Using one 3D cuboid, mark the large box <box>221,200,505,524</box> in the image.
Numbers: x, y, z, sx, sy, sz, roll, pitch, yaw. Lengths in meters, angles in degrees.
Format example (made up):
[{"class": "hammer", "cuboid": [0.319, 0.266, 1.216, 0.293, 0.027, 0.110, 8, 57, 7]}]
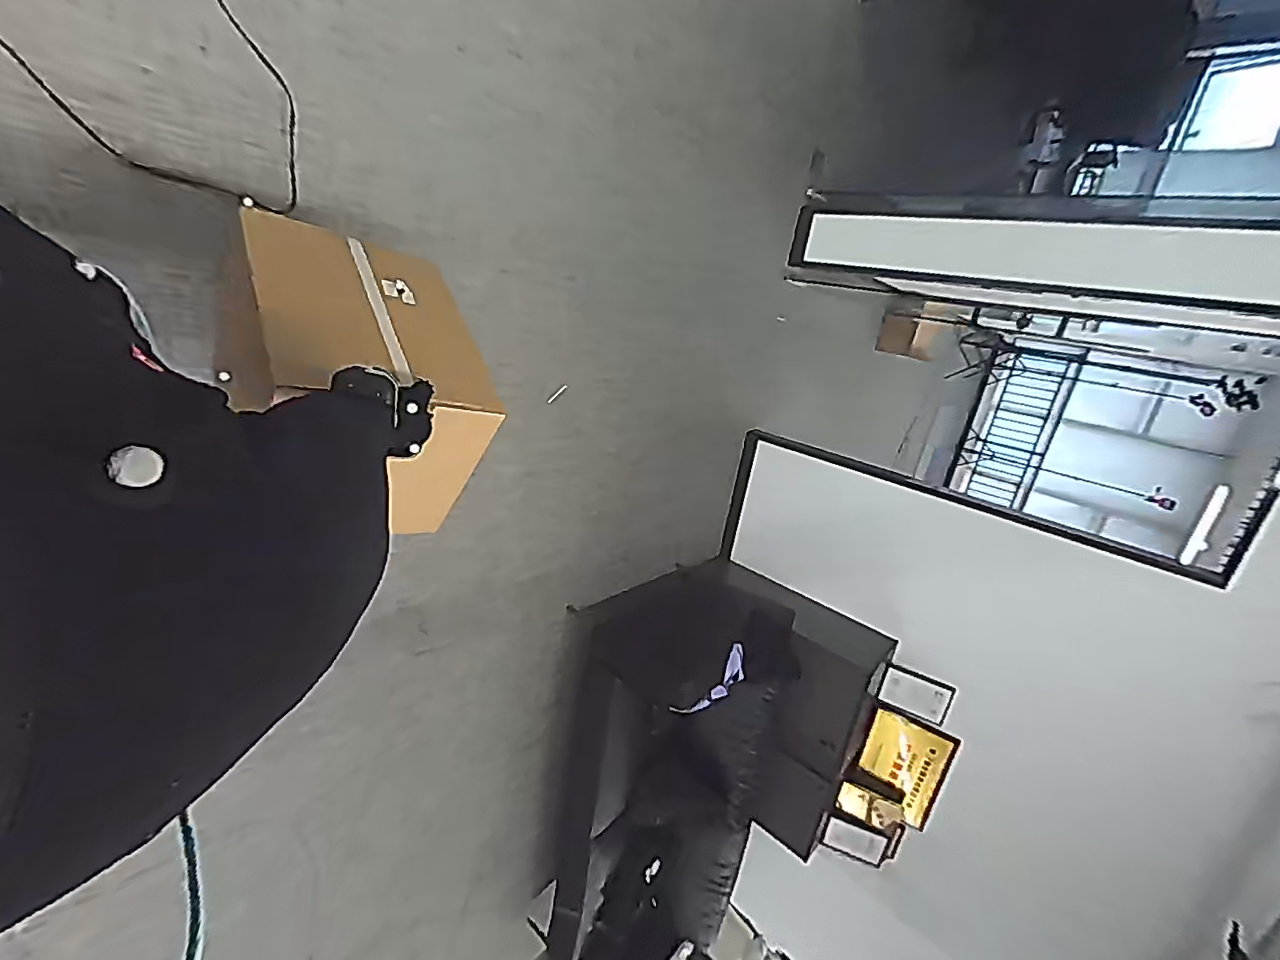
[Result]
[{"class": "large box", "cuboid": [-0.489, -0.177, 0.919, 0.320, 0.408, 0.320, 2, 139, -46]}]
